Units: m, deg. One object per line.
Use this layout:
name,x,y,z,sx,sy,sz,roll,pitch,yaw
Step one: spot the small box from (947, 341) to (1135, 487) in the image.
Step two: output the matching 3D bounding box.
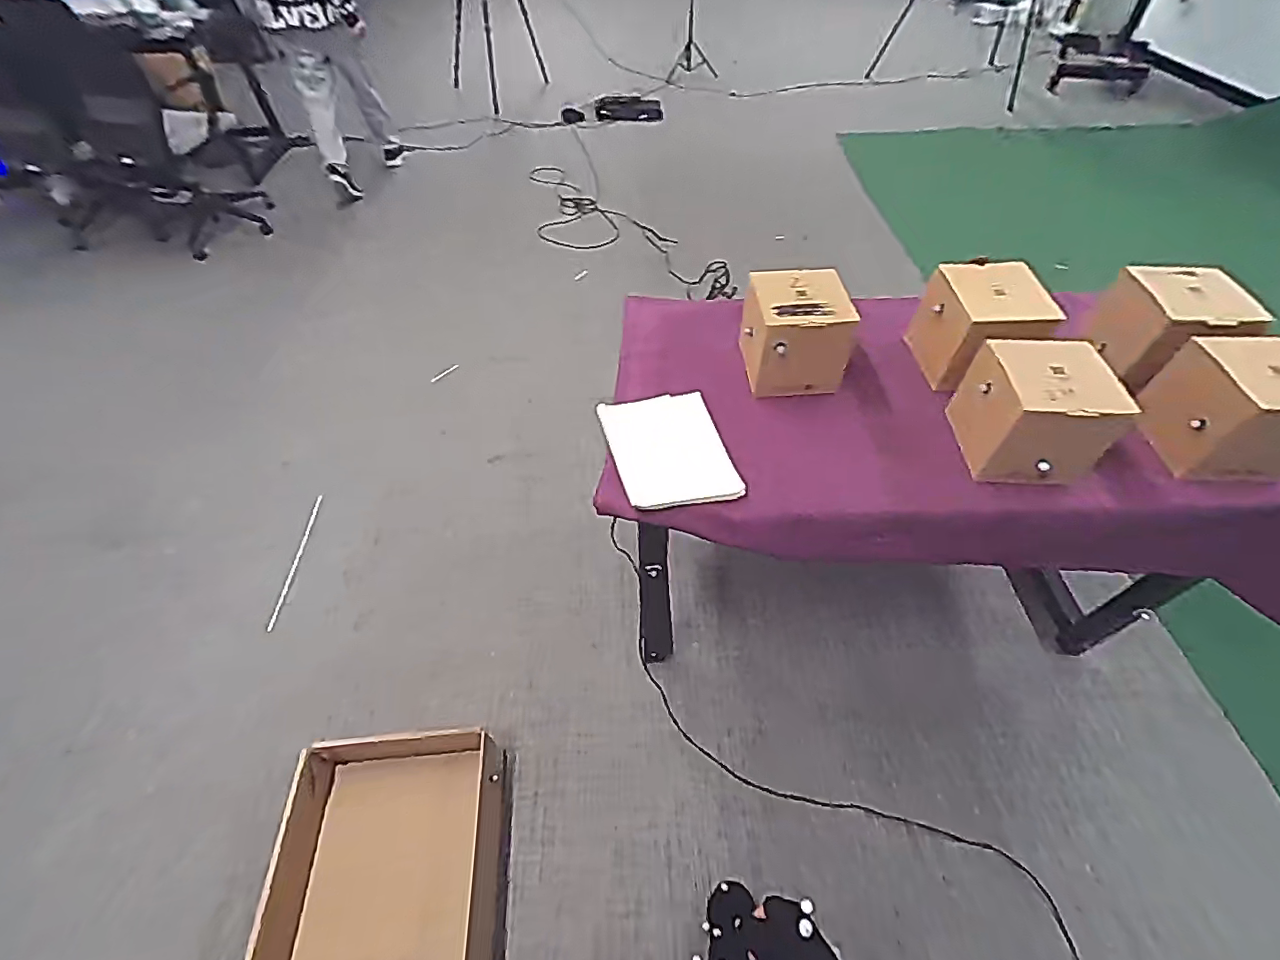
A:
small box,0.648,-0.110,0.905,0.168,0.176,0.179,2,51,4

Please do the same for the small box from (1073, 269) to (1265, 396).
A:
small box,0.988,-0.278,1.033,0.168,0.176,0.179,4,52,4

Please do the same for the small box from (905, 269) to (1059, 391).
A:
small box,0.648,-0.286,1.051,0.168,0.176,0.179,-2,51,0
